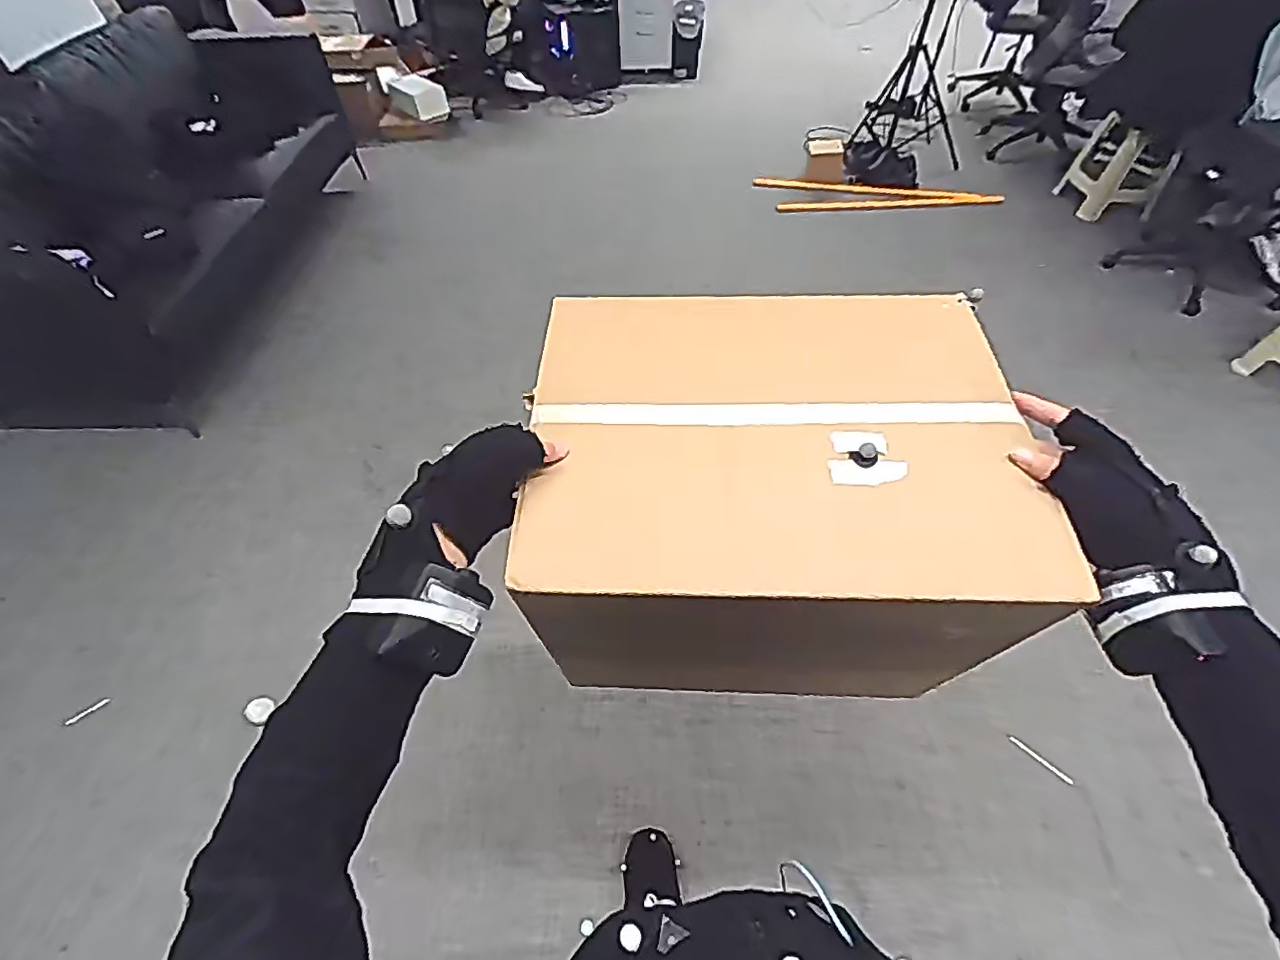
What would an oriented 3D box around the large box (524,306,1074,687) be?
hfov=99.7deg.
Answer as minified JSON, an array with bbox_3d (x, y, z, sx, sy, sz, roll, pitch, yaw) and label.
[{"bbox_3d":[0.116,0.032,0.592,0.408,0.320,0.320,1,57,2],"label":"large box"}]
